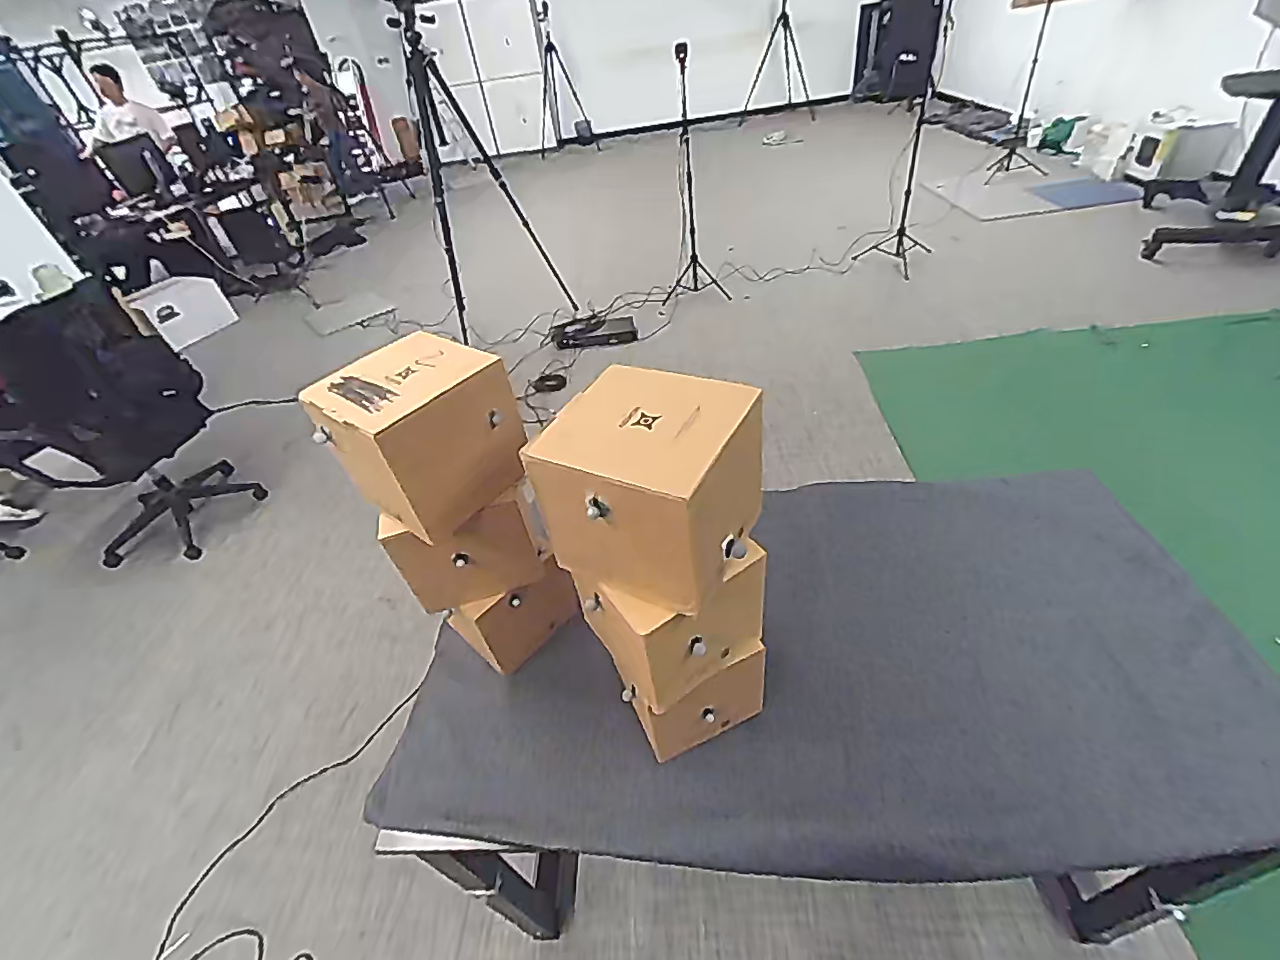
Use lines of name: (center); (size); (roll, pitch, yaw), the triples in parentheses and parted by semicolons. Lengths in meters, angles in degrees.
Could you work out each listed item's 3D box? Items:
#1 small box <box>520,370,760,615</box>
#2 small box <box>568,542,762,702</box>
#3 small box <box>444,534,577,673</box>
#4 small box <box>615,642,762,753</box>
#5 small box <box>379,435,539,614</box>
small box: (0.012, 0.010, 0.555); (0.179, 0.176, 0.168); (16, 48, 27)
small box: (0.030, 0.138, 0.654); (0.168, 0.176, 0.179); (-29, 43, -21)
small box: (-0.232, 0.185, 0.902); (0.179, 0.176, 0.168); (27, 53, 34)
small box: (0.058, 0.254, 0.764); (0.168, 0.176, 0.179); (-21, 41, -13)
small box: (-0.254, 0.066, 0.791); (0.179, 0.176, 0.168); (-17, 42, -8)
